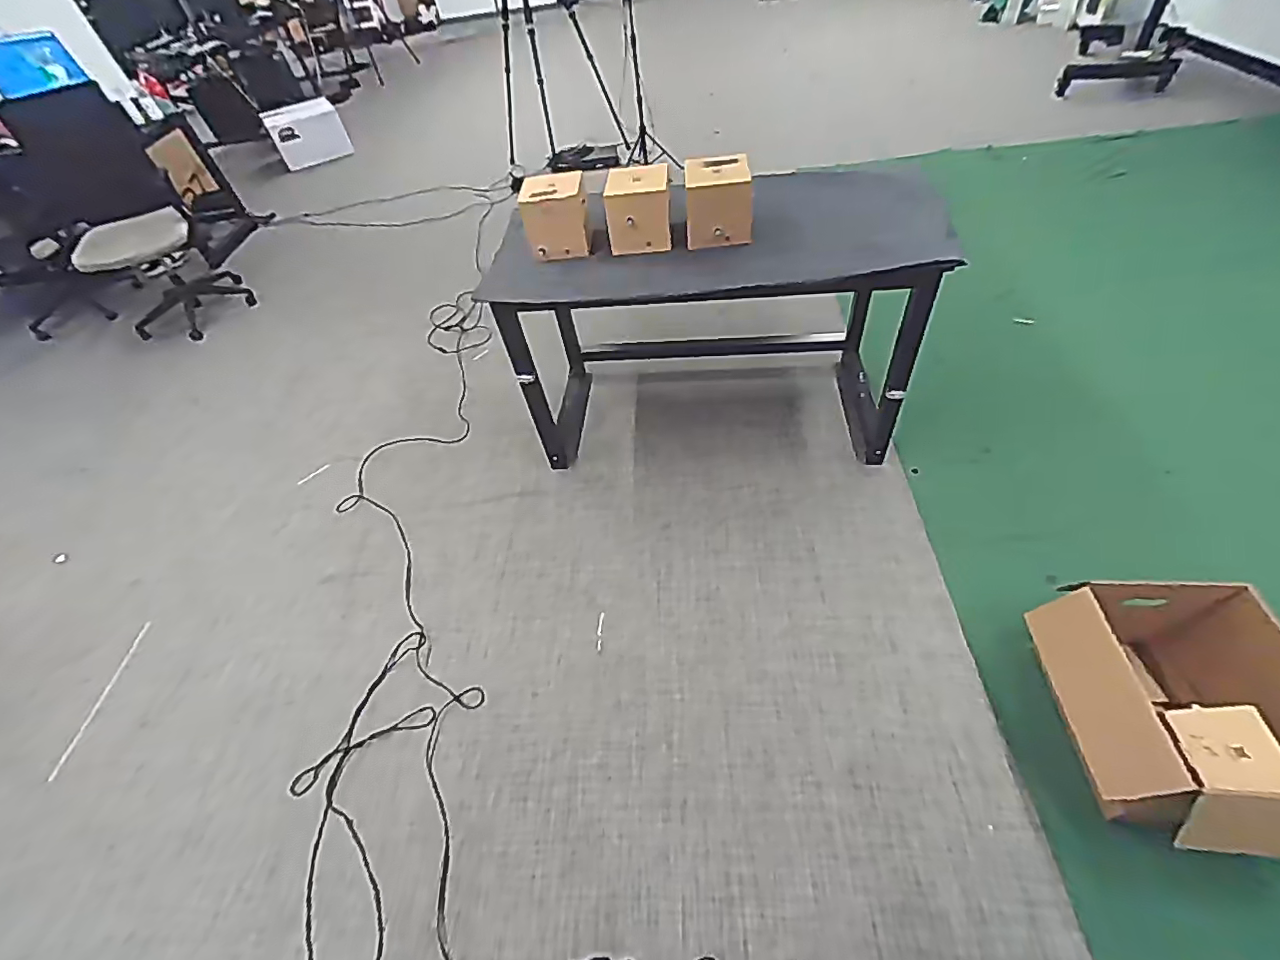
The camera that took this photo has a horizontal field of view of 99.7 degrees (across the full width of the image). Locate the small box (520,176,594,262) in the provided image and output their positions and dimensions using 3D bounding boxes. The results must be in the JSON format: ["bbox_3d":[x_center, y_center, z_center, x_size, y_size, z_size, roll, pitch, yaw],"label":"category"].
[{"bbox_3d":[-0.229,-0.737,1.542,0.168,0.176,0.179,-4,48,5],"label":"small box"}]

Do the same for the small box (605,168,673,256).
[{"bbox_3d":[0.005,-0.740,1.510,0.168,0.176,0.179,-2,49,8],"label":"small box"}]
